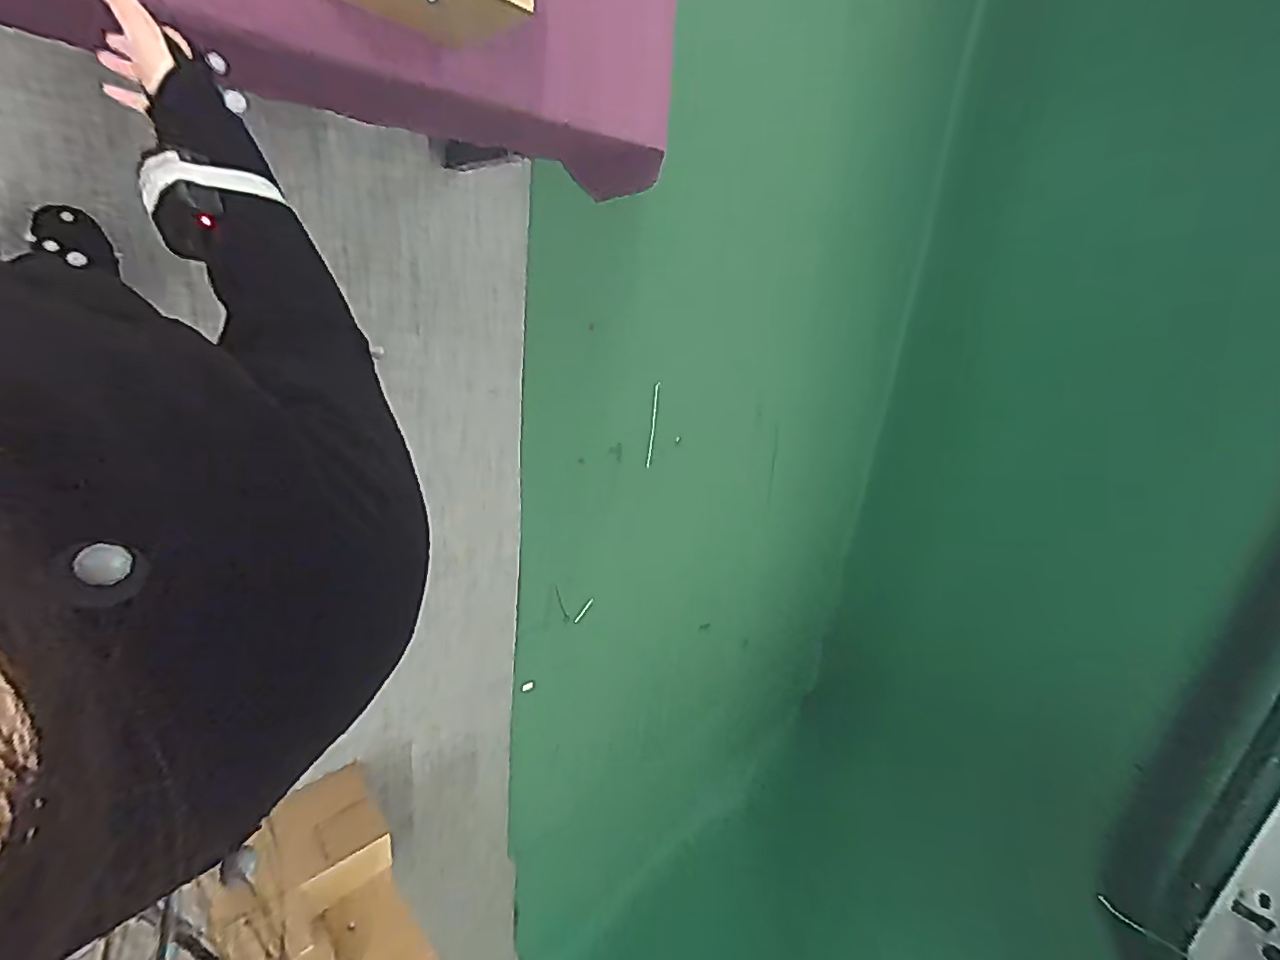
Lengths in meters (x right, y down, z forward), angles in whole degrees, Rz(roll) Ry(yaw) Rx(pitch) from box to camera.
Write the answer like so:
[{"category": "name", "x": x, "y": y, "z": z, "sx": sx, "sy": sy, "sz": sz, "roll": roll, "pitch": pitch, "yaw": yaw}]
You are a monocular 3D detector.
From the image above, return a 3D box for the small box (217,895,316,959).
[{"category": "small box", "x": -0.889, "y": 1.158, "z": 1.289, "sx": 0.168, "sy": 0.176, "sz": 0.179, "roll": -8, "pitch": 114, "yaw": -45}]

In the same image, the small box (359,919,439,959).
[{"category": "small box", "x": -0.624, "y": 1.307, "z": 1.402, "sx": 0.179, "sy": 0.176, "sz": 0.168, "roll": -15, "pitch": 120, "yaw": -43}]

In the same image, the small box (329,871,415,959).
[{"category": "small box", "x": -0.743, "y": 1.253, "z": 1.500, "sx": 0.179, "sy": 0.176, "sz": 0.168, "roll": -17, "pitch": 121, "yaw": -43}]
